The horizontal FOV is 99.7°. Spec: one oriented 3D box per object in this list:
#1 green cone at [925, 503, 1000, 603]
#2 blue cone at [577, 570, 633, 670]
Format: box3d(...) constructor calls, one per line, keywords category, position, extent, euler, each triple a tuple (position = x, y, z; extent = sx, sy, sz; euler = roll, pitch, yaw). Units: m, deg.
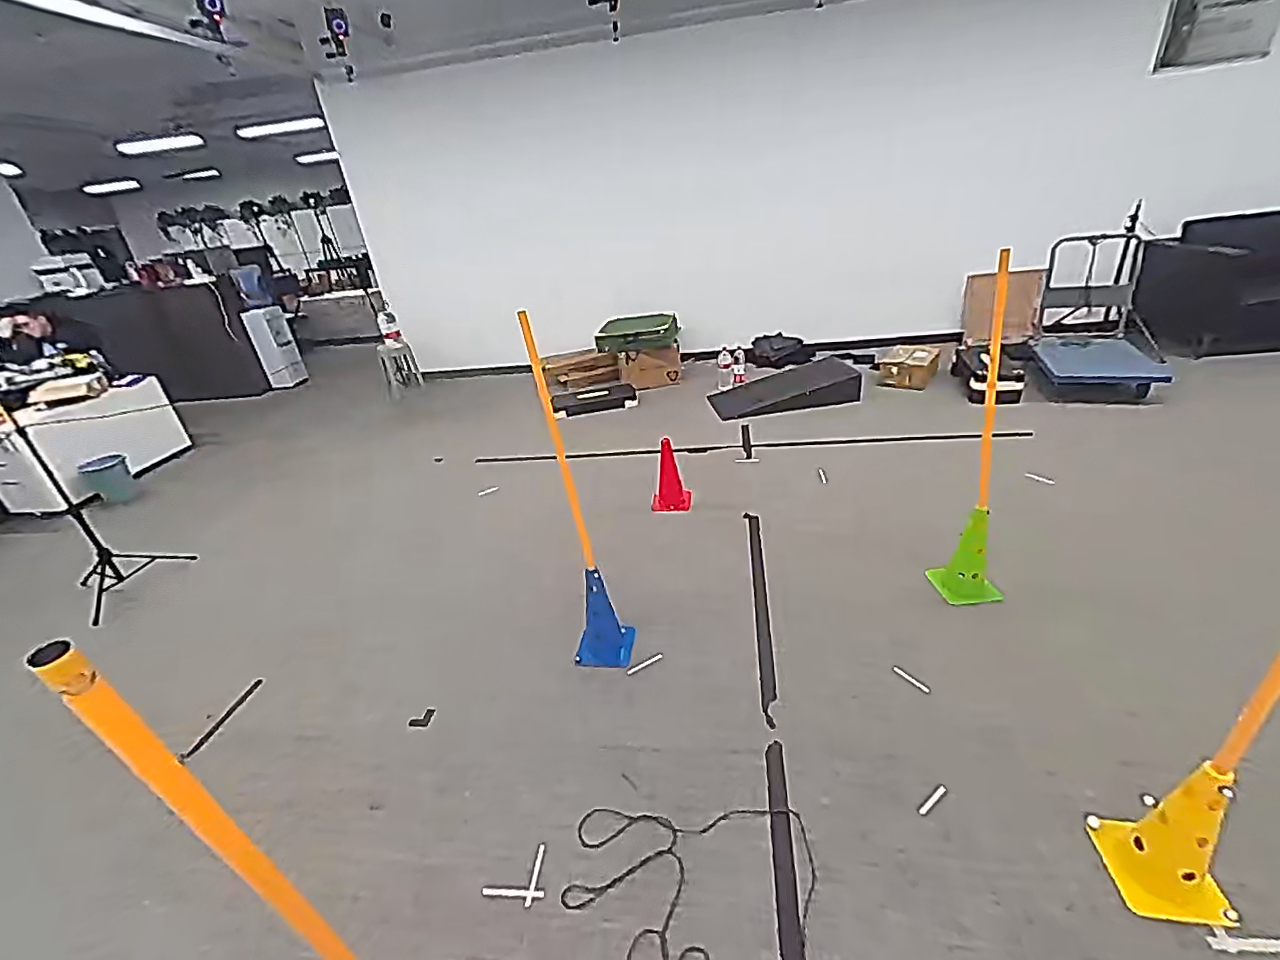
box3d(category="green cone", position=(1.202, 0.243, 1.969), extent=(0.200, 0.368, 0.202), euler=(-7, 30, 0))
box3d(category="blue cone", position=(-0.142, 0.466, 1.887), extent=(0.193, 0.380, 0.192), euler=(-1, 29, 12))
